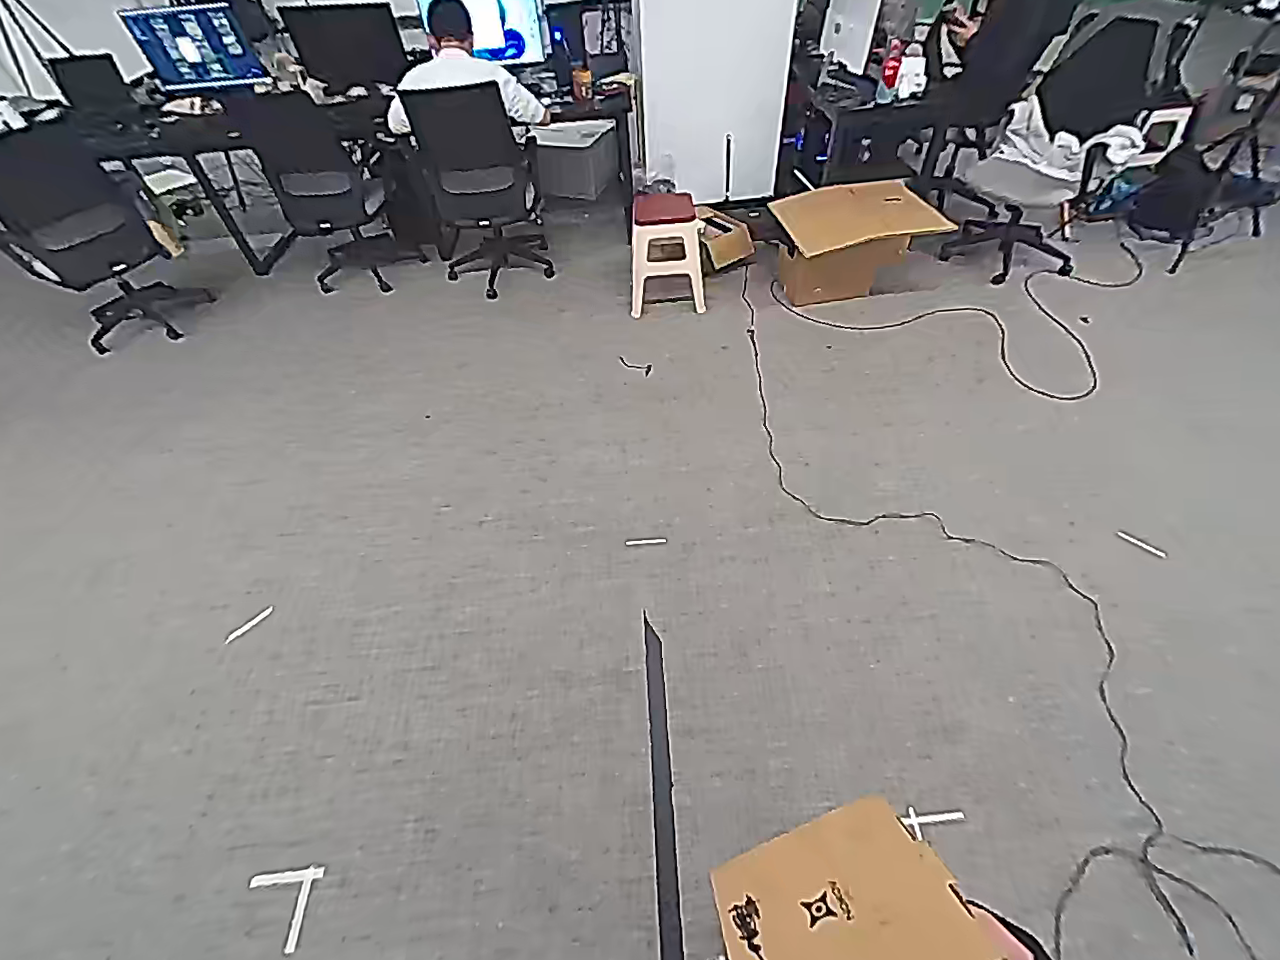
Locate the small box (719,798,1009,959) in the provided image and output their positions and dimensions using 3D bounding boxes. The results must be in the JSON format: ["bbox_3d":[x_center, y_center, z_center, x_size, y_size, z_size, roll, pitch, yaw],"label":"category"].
[{"bbox_3d":[0.187,0.411,0.433,0.179,0.168,0.176,-23,93,-2],"label":"small box"}]
